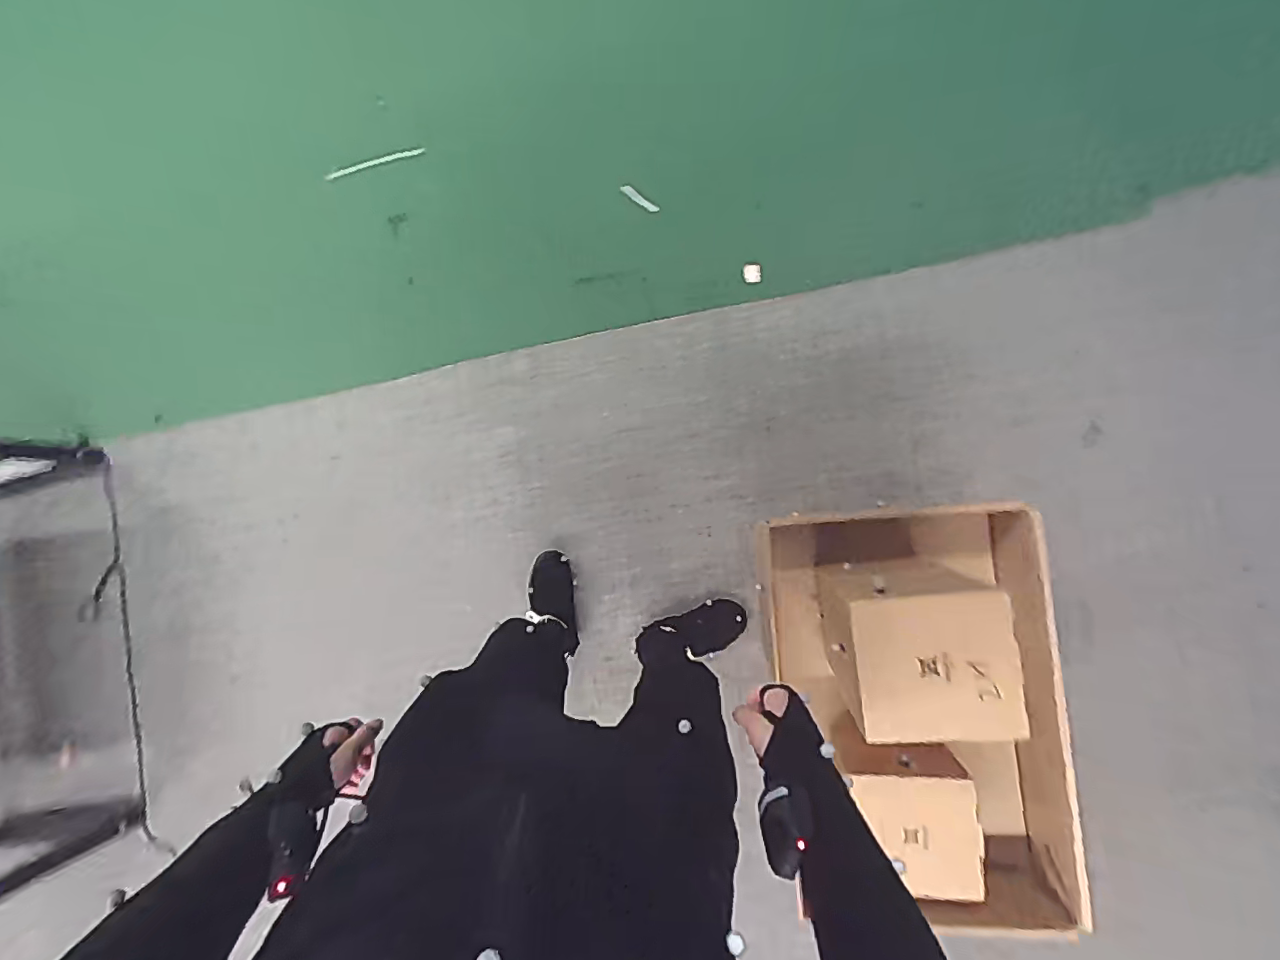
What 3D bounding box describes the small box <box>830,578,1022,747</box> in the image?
[{"bbox_3d":[0.348,0.223,0.695,0.179,0.176,0.168,-6,87,11],"label":"small box"}]
